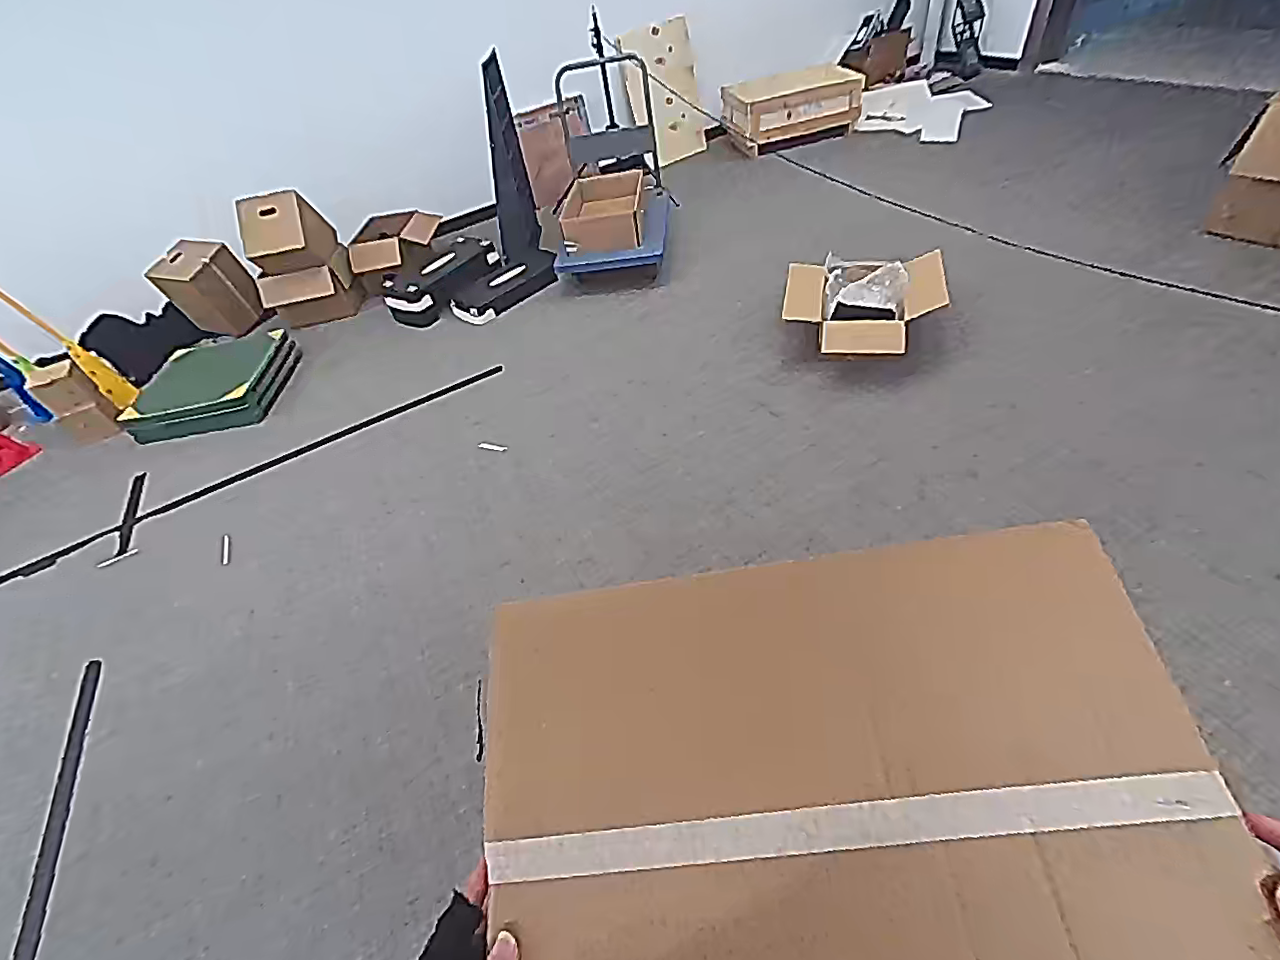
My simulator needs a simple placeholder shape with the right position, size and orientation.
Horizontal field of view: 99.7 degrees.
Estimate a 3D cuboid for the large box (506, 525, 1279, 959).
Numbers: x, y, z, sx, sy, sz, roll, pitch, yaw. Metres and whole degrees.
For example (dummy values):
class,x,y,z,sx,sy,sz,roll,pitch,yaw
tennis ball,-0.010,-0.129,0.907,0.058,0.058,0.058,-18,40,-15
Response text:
class,x,y,z,sx,sy,sz,roll,pitch,yaw
large box,0.136,0.264,0.445,0.408,0.320,0.320,-10,64,7
